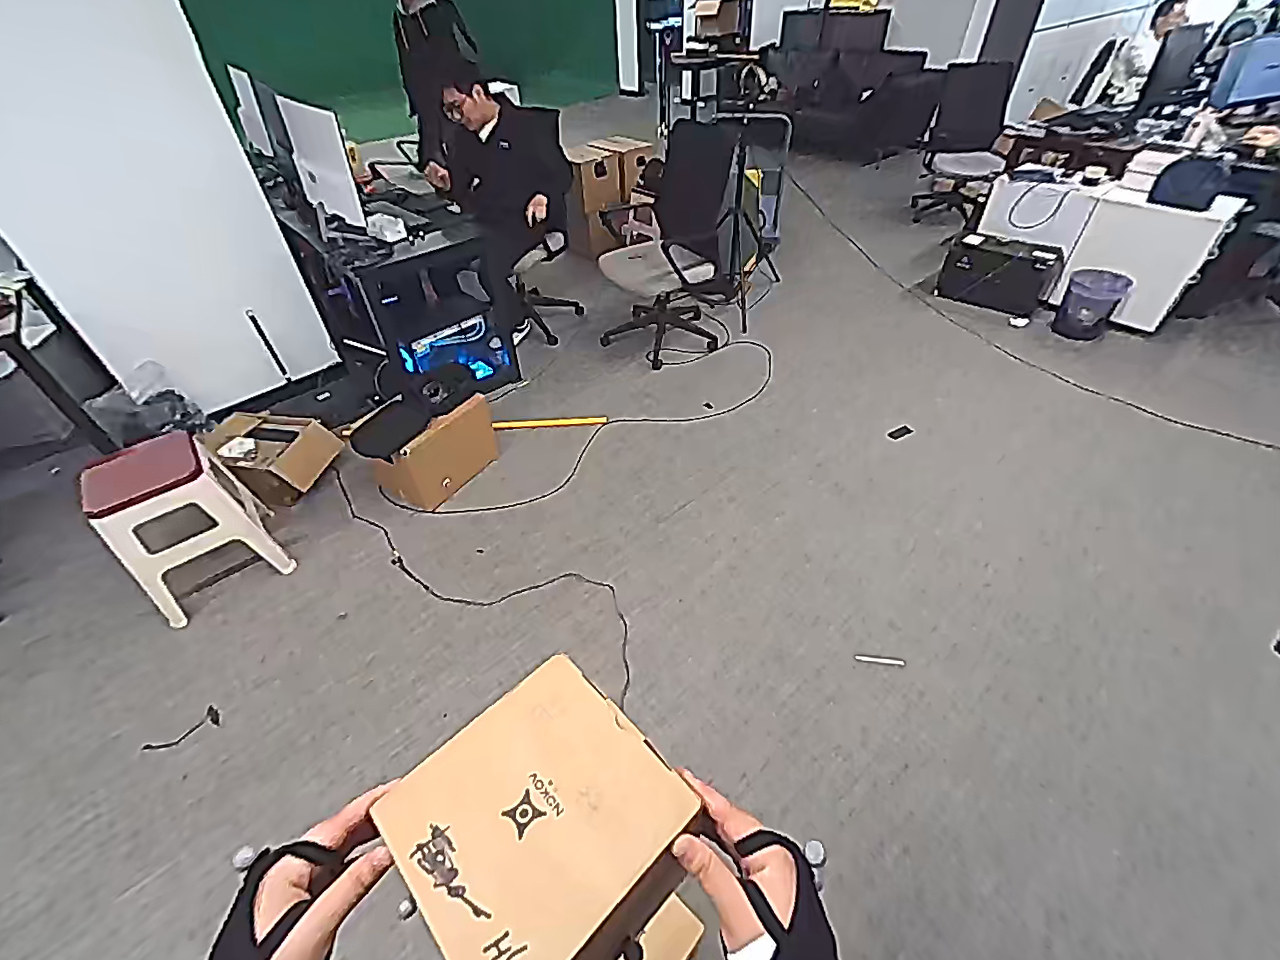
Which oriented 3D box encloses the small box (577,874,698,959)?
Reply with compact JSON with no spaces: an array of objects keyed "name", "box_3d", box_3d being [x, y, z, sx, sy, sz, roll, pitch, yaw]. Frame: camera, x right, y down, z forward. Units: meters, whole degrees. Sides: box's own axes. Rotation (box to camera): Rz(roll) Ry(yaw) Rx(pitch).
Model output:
[{"name":"small box","box_3d":[-0.004,0.950,1.087,0.179,0.176,0.168,-36,52,-29]}]
